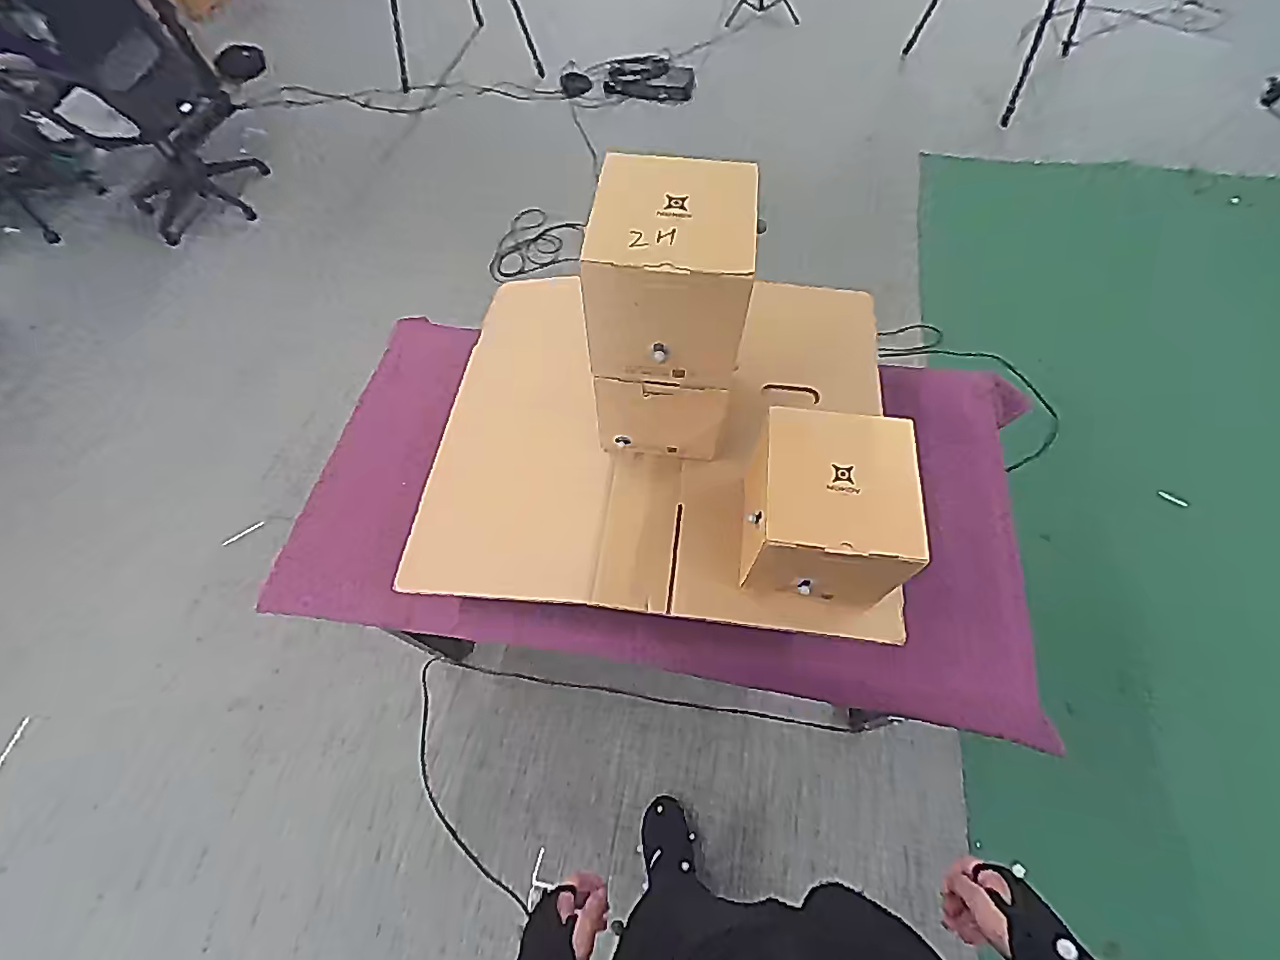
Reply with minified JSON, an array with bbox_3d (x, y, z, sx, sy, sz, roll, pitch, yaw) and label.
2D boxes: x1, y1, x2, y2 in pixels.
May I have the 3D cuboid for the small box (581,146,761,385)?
[{"bbox_3d":[0.035,-0.233,0.604,0.168,0.176,0.179,6,63,4],"label":"small box"}]

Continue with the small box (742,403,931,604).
[{"bbox_3d":[0.220,0.034,0.650,0.168,0.176,0.179,6,63,4],"label":"small box"}]

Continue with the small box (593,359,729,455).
[{"bbox_3d":[0.035,-0.153,0.747,0.168,0.176,0.179,7,61,3],"label":"small box"}]
